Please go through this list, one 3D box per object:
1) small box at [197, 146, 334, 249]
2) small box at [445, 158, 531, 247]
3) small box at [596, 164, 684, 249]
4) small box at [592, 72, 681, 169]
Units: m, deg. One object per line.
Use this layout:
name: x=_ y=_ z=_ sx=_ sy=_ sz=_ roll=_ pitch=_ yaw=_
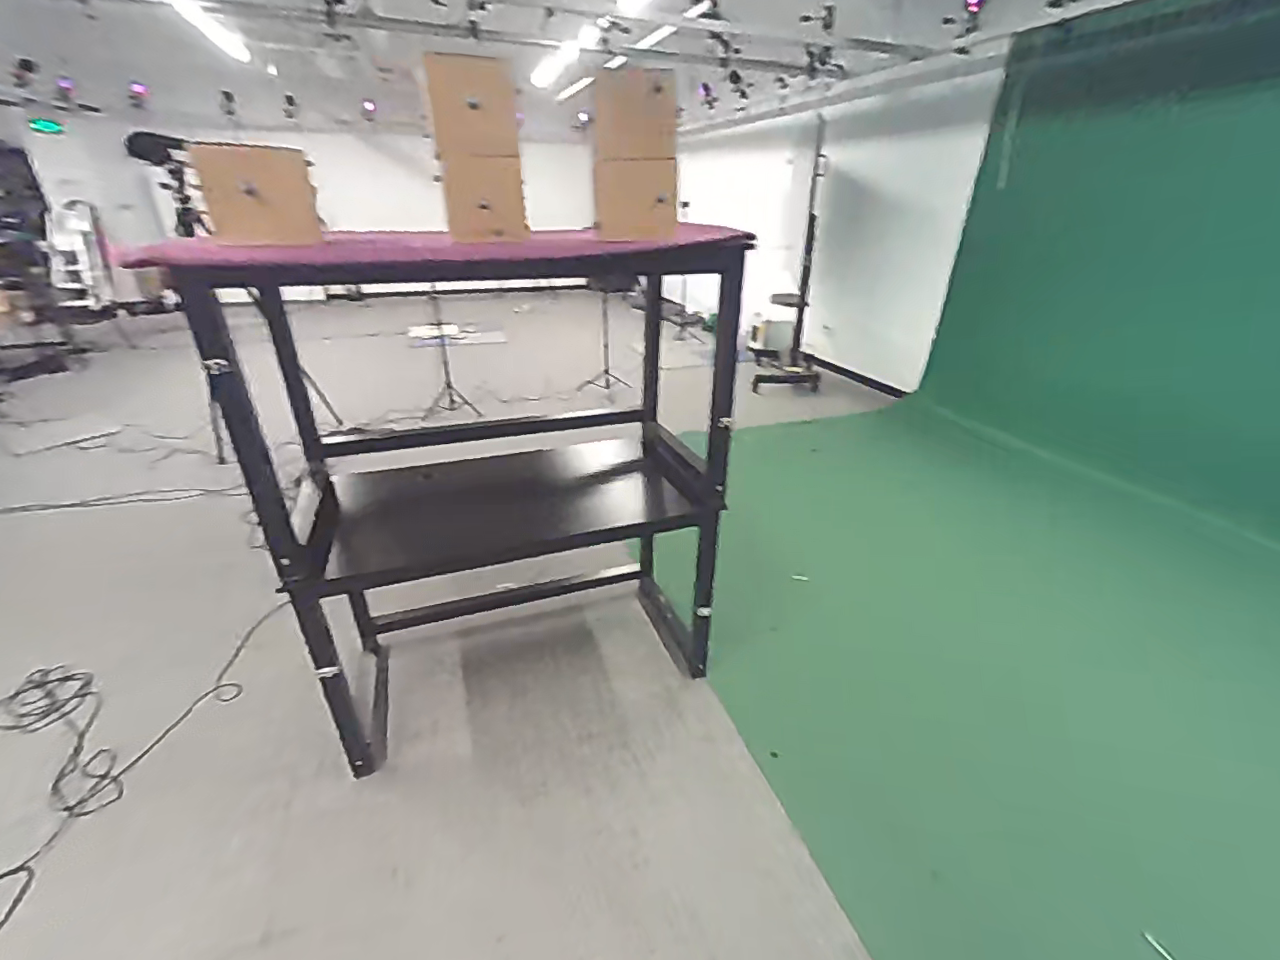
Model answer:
small box: x=-0.726 y=-0.554 z=1.069 sx=0.179 sy=0.176 sz=0.168 roll=-11 pitch=31 yaw=-23
small box: x=-0.343 y=-0.621 z=1.220 sx=0.168 sy=0.176 sz=0.179 roll=-7 pitch=27 yaw=-18
small box: x=-0.002 y=-0.653 z=1.295 sx=0.179 sy=0.176 sz=0.168 roll=-8 pitch=25 yaw=-13
small box: x=-0.009 y=-0.802 z=1.232 sx=0.179 sy=0.176 sz=0.168 roll=-6 pitch=25 yaw=-11
